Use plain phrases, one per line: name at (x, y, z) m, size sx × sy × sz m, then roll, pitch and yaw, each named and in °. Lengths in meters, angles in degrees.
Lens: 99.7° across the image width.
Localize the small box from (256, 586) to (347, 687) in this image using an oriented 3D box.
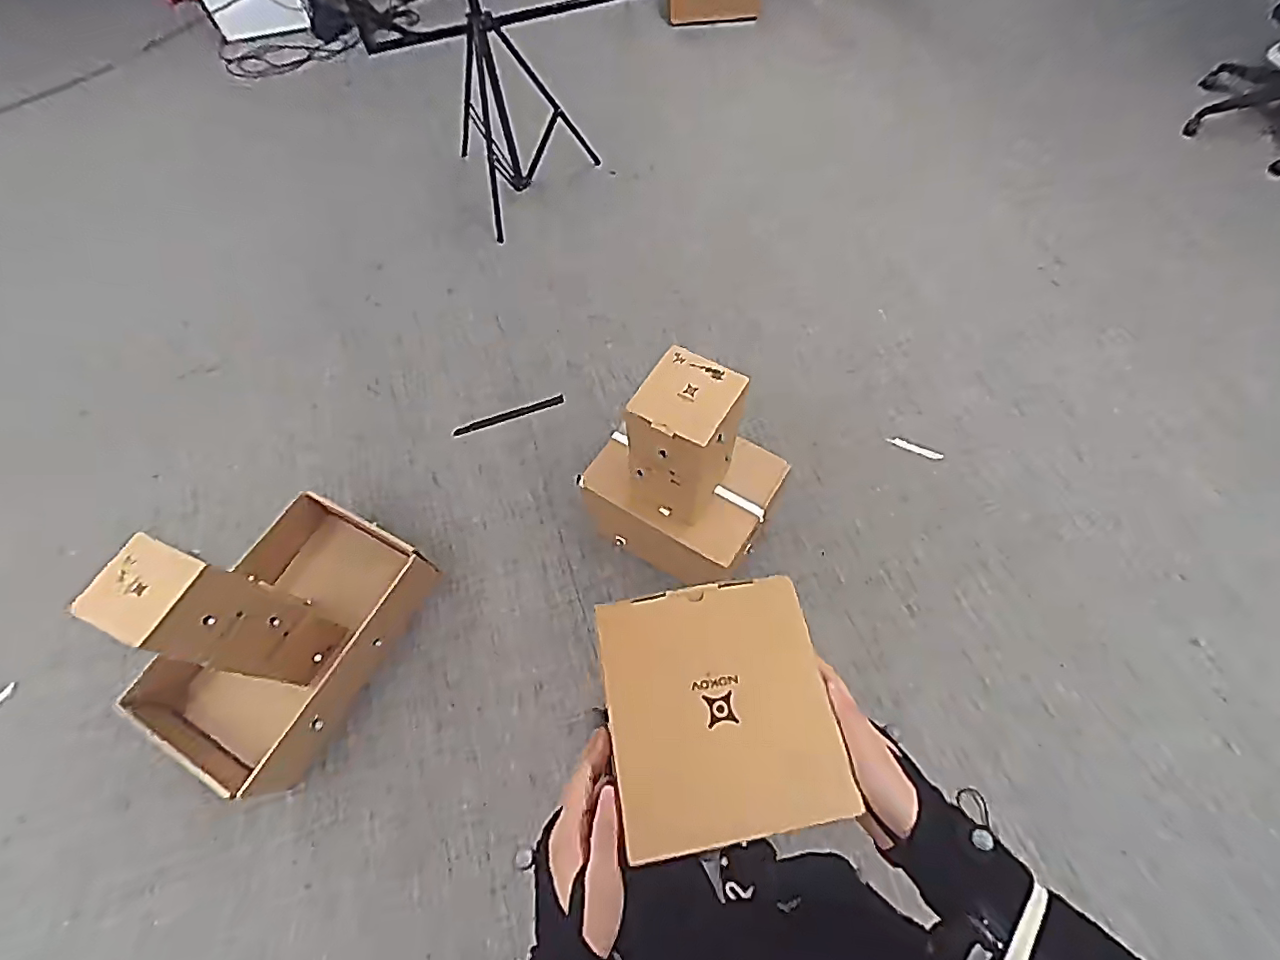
small box at (-0.873, 0.390, 1.325) m, size 0.179 × 0.176 × 0.168 m, roll 24°, pitch 67°, yaw 14°

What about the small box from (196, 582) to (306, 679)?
small box at (-0.884, 0.319, 1.179) m, size 0.179 × 0.176 × 0.168 m, roll 20°, pitch 64°, yaw 14°

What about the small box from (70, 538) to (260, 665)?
small box at (-0.888, 0.239, 1.034) m, size 0.179 × 0.176 × 0.168 m, roll 20°, pitch 64°, yaw 12°

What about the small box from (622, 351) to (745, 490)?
small box at (0.086, -0.108, 1.047) m, size 0.168 × 0.176 × 0.179 m, roll 29°, pitch 68°, yaw 15°

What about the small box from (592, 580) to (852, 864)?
small box at (0.053, 0.206, 0.473) m, size 0.168 × 0.176 × 0.179 m, roll -8°, pitch 60°, yaw -6°
